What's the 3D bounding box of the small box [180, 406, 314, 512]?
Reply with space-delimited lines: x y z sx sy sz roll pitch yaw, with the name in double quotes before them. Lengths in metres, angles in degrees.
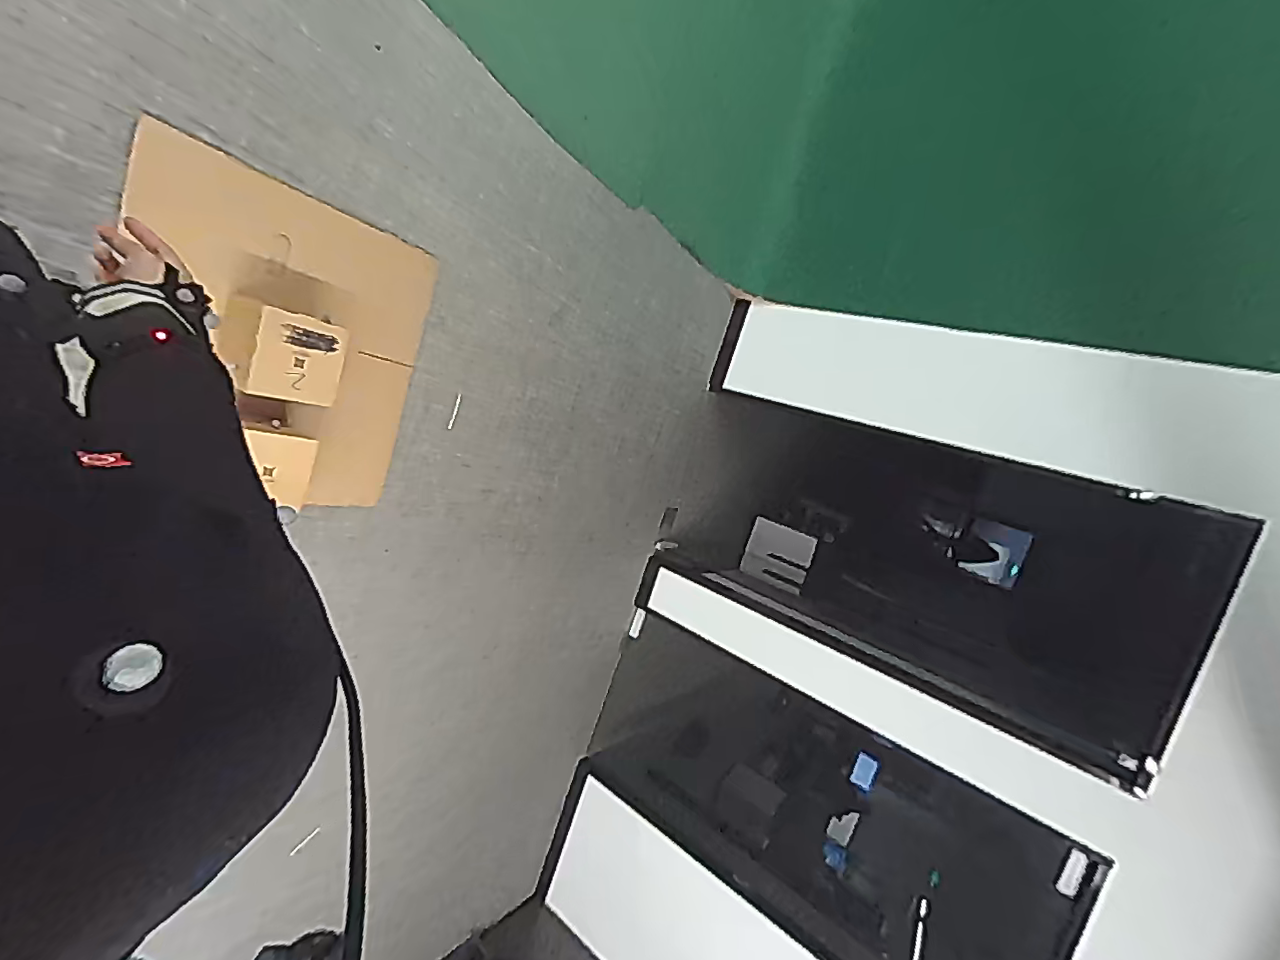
"small box" -0.833 -0.045 1.144 0.168 0.176 0.179 11 100 -58
